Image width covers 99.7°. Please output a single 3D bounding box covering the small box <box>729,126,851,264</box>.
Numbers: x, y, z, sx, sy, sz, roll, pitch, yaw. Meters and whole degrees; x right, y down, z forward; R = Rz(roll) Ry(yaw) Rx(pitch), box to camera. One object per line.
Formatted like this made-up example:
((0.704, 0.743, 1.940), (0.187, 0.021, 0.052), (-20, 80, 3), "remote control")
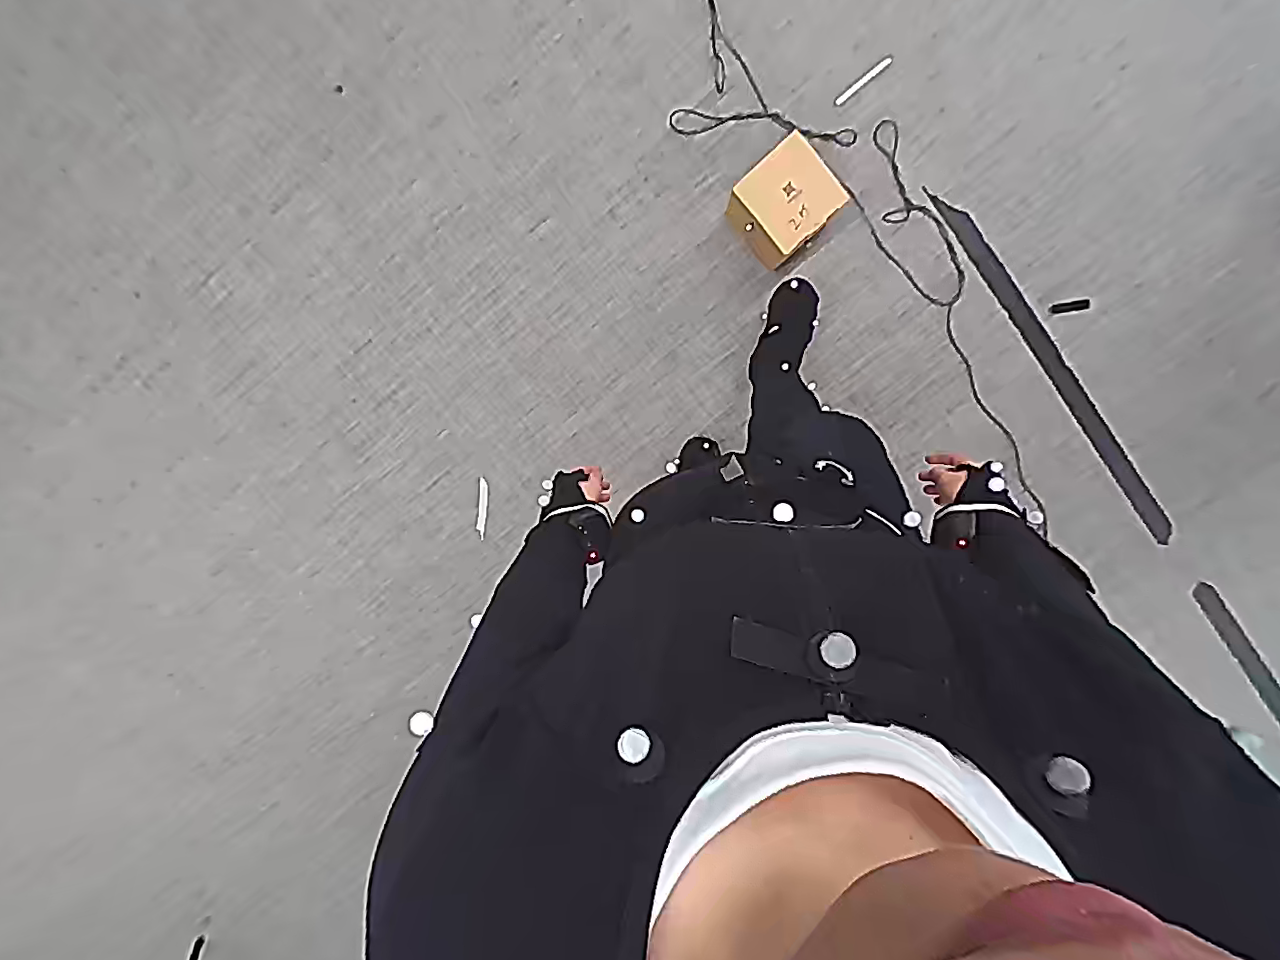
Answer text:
((0.305, -0.590, 1.148), (0.168, 0.176, 0.179), (-40, 96, 10), "small box")
